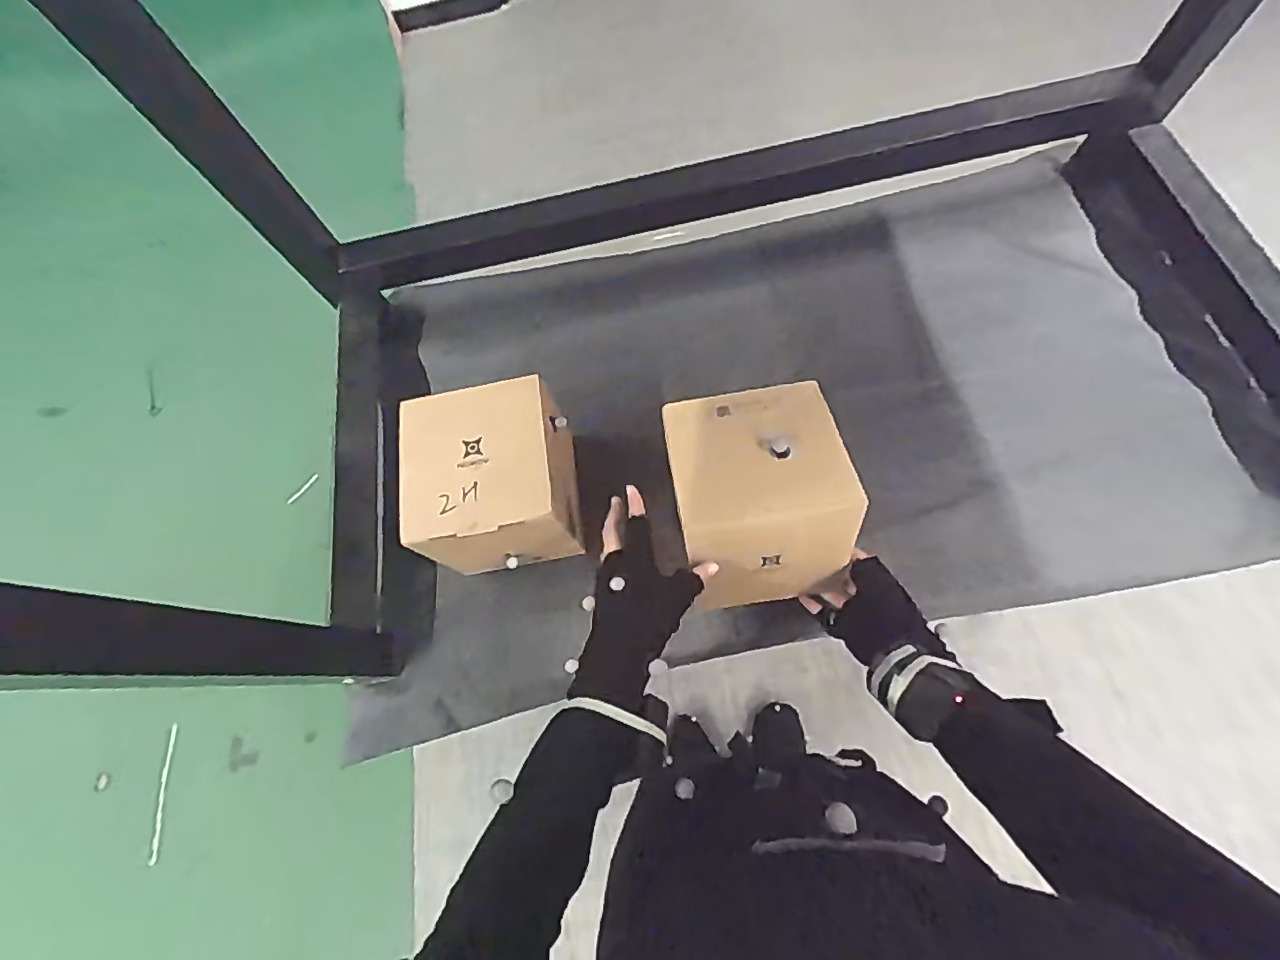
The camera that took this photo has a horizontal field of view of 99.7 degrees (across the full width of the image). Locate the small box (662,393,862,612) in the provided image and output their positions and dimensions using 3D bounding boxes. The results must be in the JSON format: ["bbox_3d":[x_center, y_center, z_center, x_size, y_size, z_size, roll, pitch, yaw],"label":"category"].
[{"bbox_3d":[0.121,0.021,0.592,0.168,0.179,0.176,-9,52,4],"label":"small box"}]

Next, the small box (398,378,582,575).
[{"bbox_3d":[-0.175,0.004,0.664,0.168,0.176,0.179,-11,68,3],"label":"small box"}]
